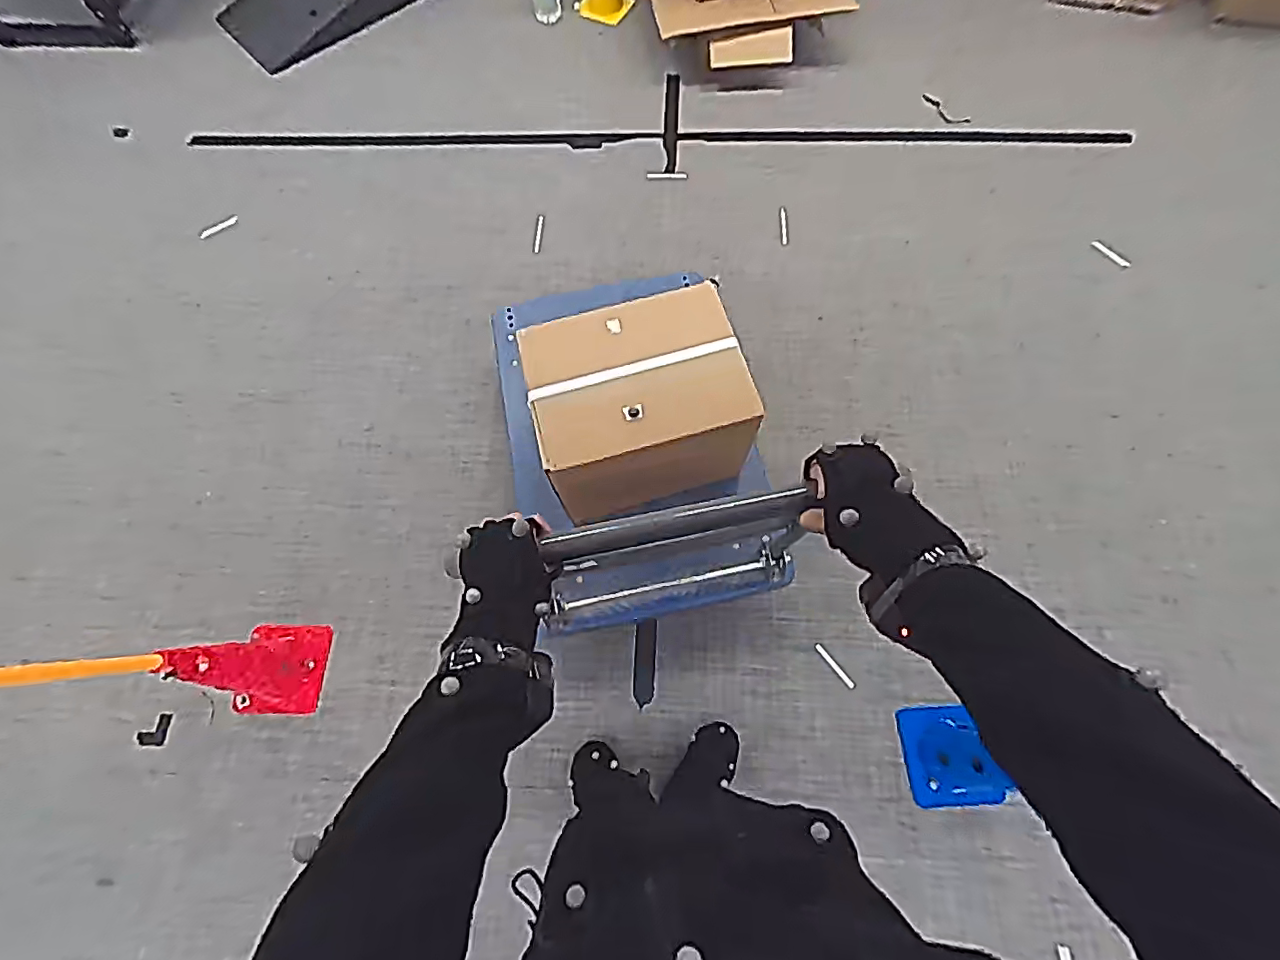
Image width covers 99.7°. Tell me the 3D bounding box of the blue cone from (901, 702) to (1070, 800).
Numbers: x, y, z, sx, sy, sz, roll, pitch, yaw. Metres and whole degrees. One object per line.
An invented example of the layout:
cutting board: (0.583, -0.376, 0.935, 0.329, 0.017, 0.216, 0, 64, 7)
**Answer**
blue cone: (0.684, 0.533, 1.041, 0.193, 0.380, 0.192, -2, 68, 0)
